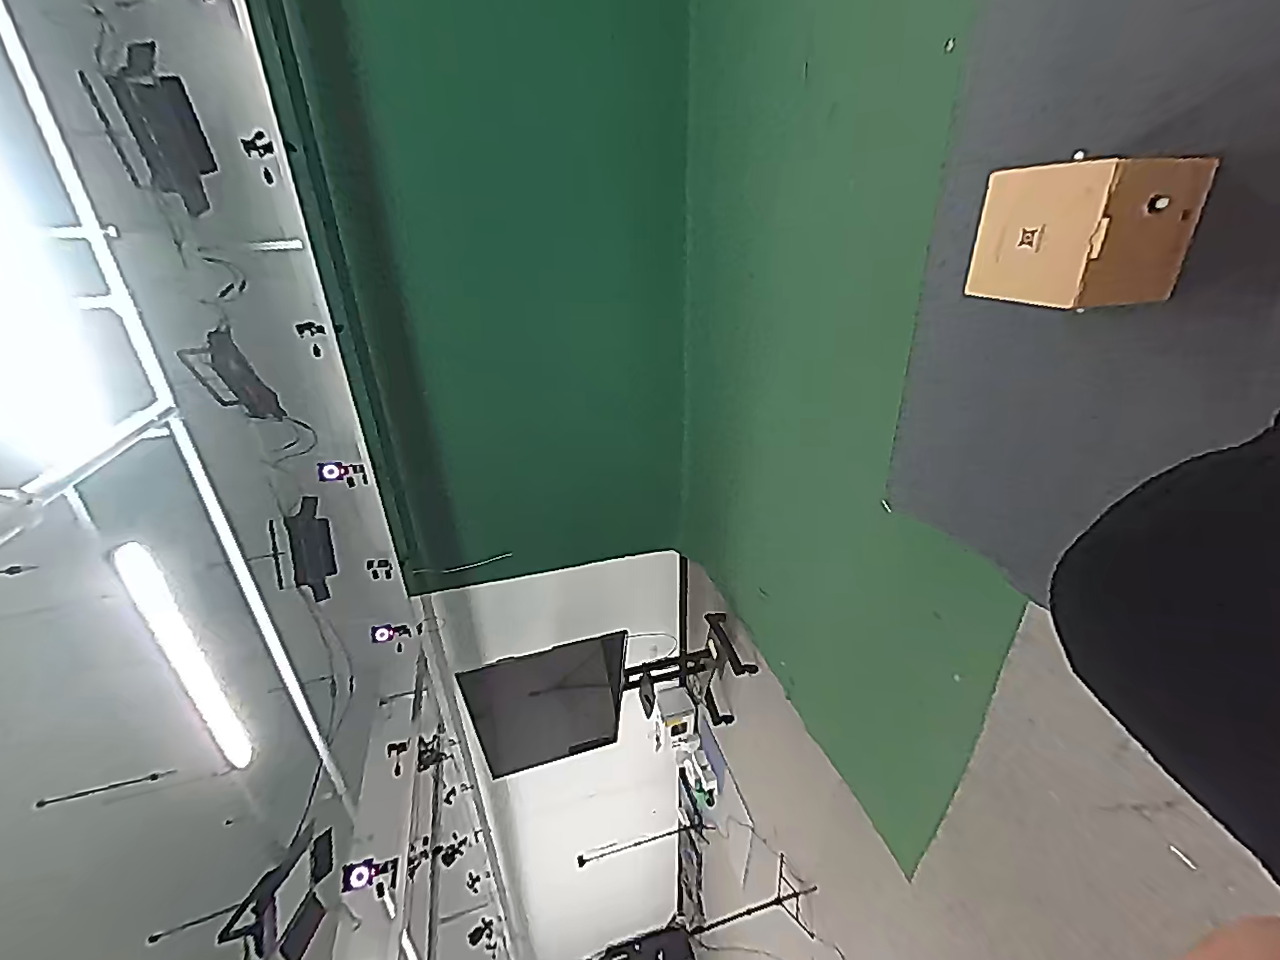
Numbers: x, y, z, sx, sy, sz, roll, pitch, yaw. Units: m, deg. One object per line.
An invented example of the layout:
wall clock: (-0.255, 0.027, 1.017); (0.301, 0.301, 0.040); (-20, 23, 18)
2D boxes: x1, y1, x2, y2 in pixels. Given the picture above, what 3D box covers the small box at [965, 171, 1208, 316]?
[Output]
small box: (0.602, -0.326, 0.745); (0.179, 0.176, 0.168); (-124, 30, -61)
